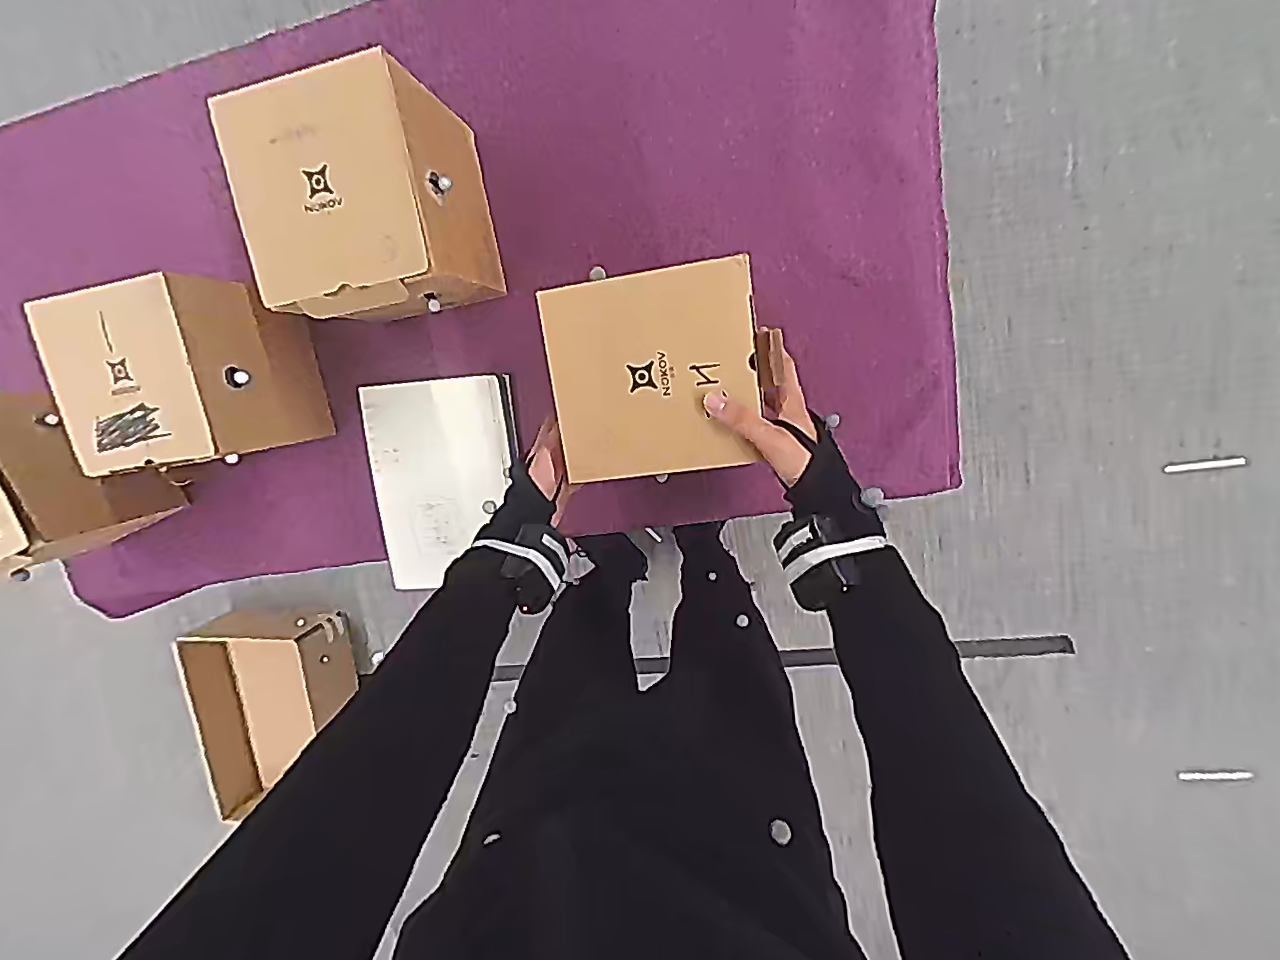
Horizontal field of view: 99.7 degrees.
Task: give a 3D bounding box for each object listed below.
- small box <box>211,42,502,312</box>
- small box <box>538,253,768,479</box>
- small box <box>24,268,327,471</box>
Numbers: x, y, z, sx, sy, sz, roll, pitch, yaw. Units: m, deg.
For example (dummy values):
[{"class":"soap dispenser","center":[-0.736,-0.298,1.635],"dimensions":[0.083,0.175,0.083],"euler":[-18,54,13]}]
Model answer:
[{"class":"small box","center":[-0.251,-0.265,0.526],"dimensions":[0.168,0.176,0.179],"euler":[-7,101,10]},{"class":"small box","center":[0.023,-0.103,0.516],"dimensions":[0.179,0.176,0.168],"euler":[-6,102,10]},{"class":"small box","center":[-0.484,-0.117,0.595],"dimensions":[0.168,0.176,0.179],"euler":[-7,100,10]}]
